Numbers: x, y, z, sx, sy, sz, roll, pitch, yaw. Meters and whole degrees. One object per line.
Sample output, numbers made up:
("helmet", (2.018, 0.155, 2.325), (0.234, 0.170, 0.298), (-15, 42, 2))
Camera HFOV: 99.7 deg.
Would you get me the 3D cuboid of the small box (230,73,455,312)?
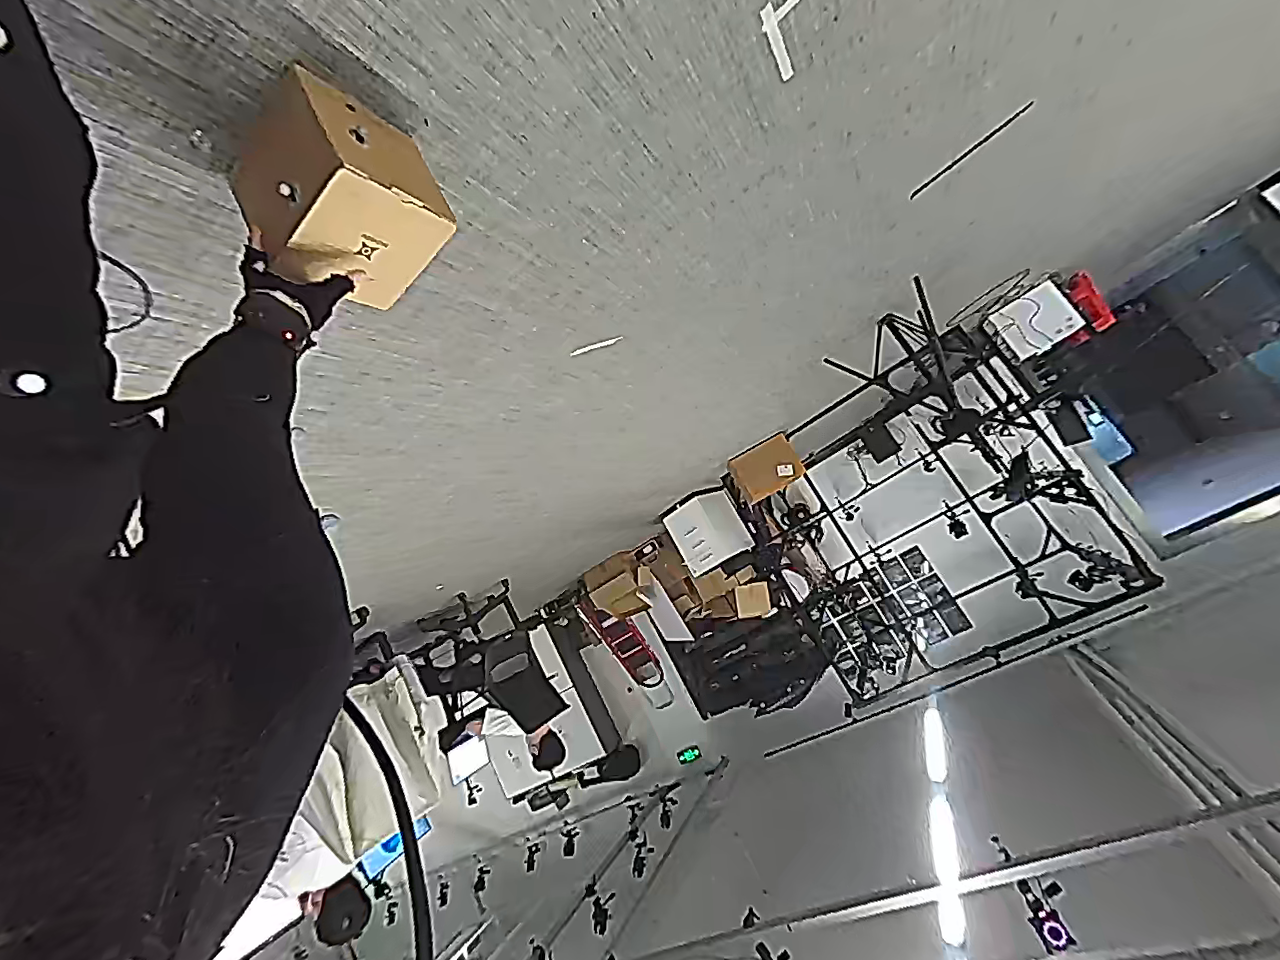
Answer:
("small box", (-0.380, -0.354, 0.688), (0.179, 0.176, 0.168), (-34, 165, 23))
